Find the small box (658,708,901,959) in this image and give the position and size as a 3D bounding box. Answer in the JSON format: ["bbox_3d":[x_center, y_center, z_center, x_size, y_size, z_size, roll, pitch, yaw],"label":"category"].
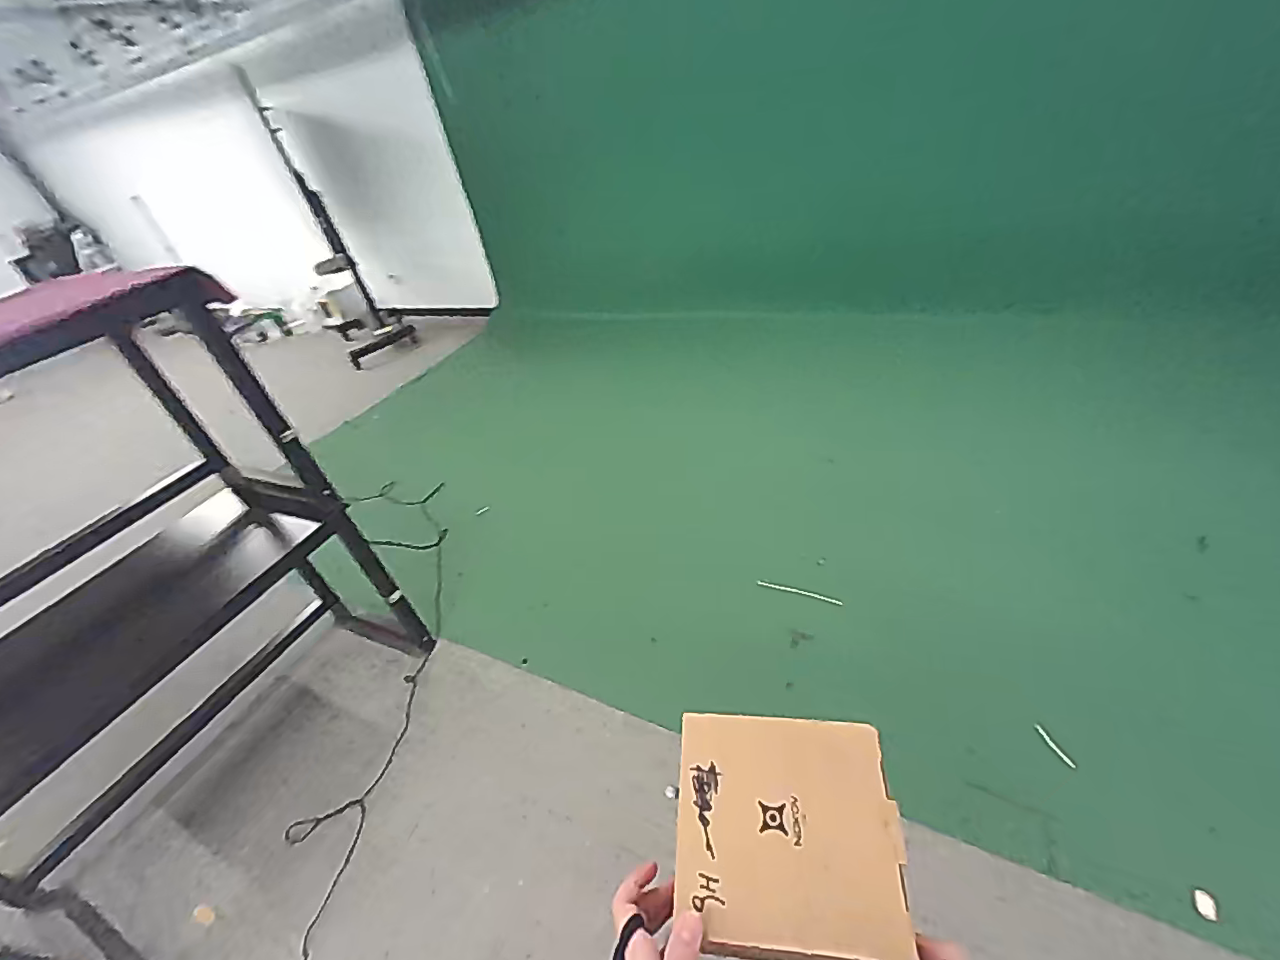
[{"bbox_3d":[0.115,0.333,0.502,0.179,0.176,0.168,1,46,9],"label":"small box"}]
